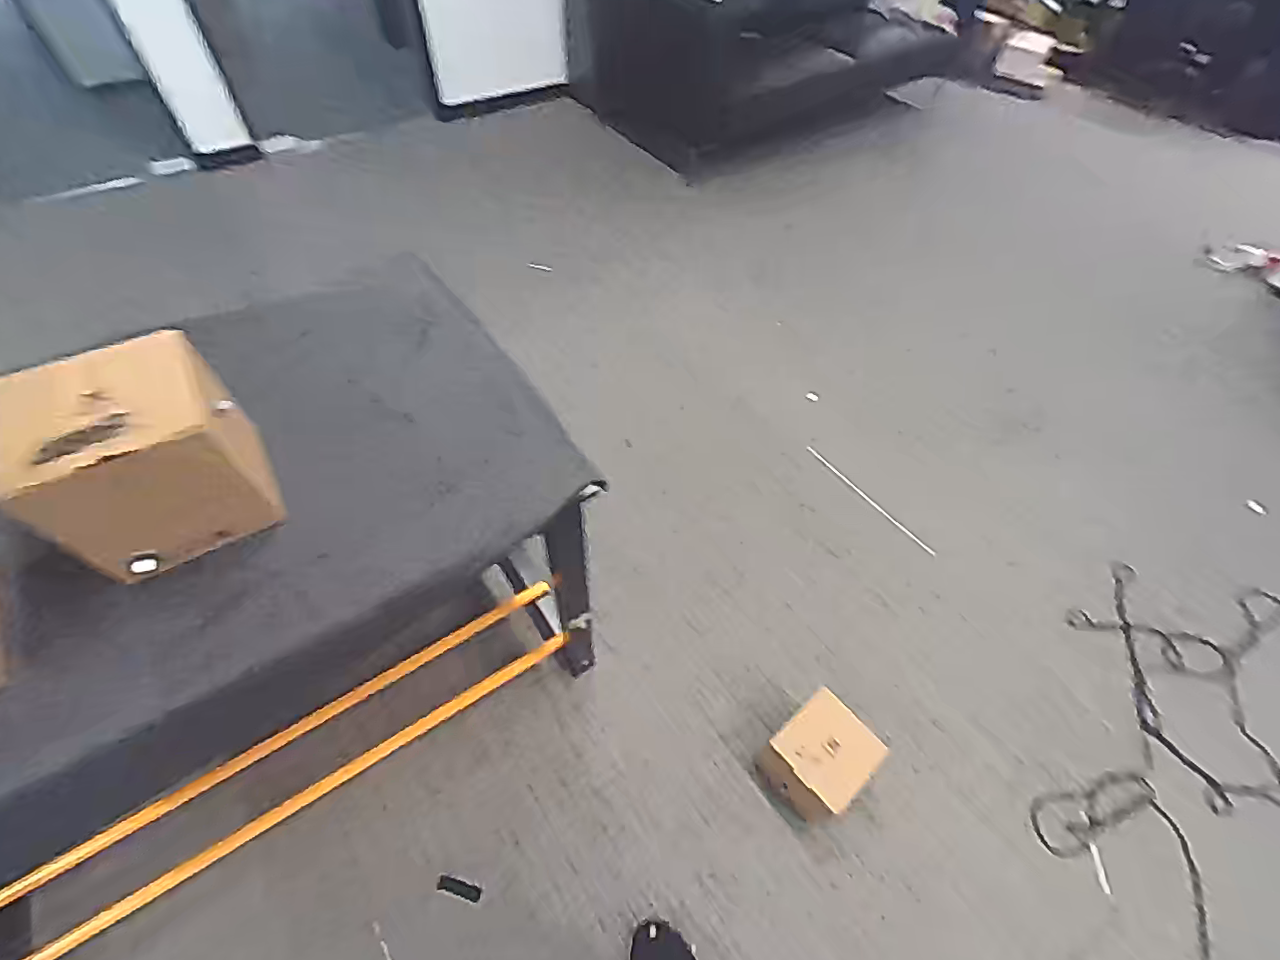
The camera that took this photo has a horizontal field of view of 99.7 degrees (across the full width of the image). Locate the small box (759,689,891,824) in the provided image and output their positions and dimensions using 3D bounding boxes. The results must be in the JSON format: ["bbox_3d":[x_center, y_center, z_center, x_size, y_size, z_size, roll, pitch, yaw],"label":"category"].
[{"bbox_3d":[0.369,0.570,1.111,0.179,0.176,0.168,-33,61,-24],"label":"small box"}]

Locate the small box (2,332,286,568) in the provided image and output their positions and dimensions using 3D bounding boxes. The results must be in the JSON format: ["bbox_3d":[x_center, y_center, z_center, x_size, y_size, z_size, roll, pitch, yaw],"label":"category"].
[{"bbox_3d":[-0.530,-0.025,0.599,0.168,0.176,0.179,-27,58,-22],"label":"small box"}]
